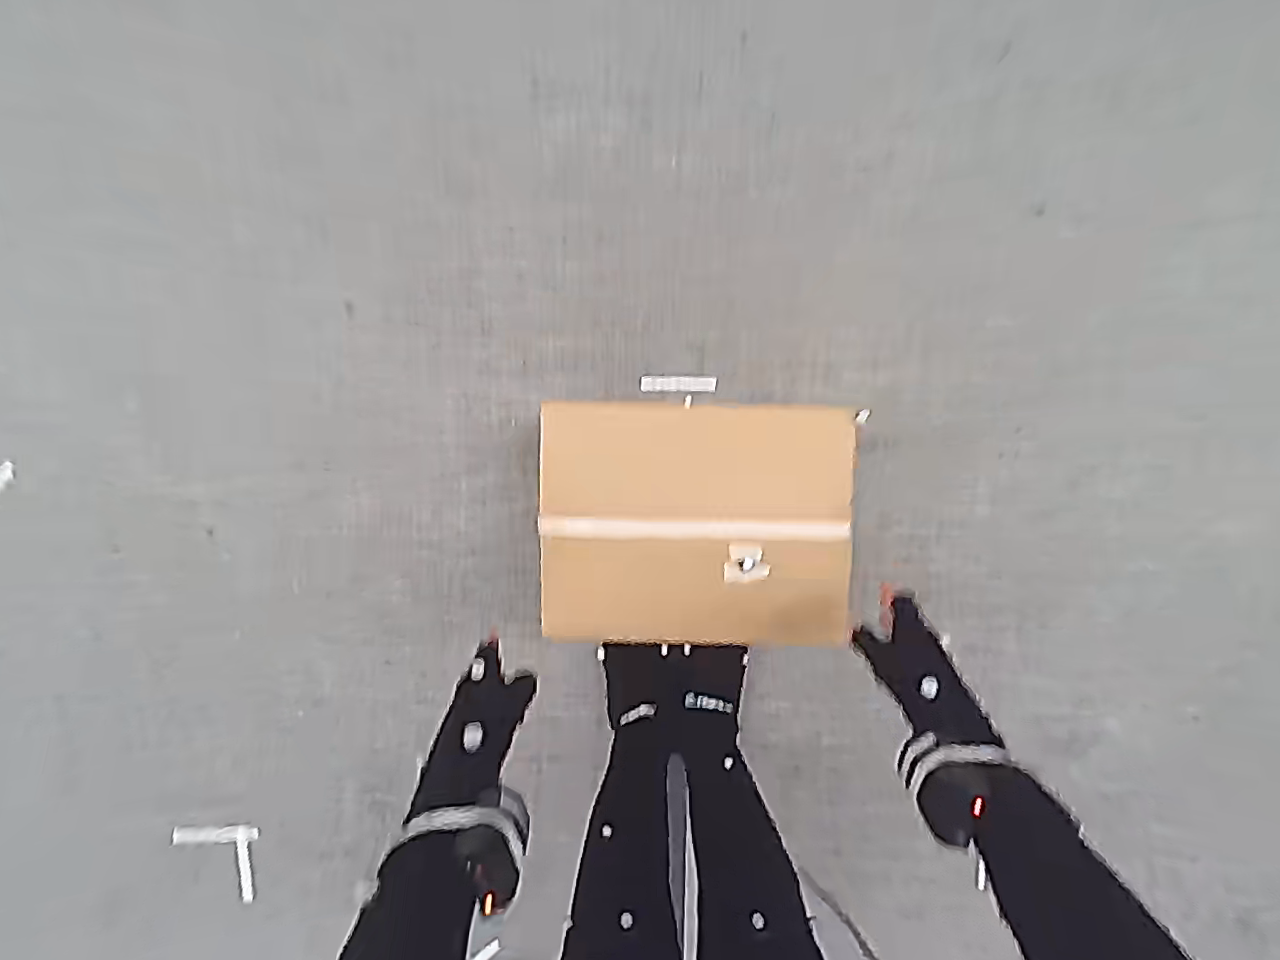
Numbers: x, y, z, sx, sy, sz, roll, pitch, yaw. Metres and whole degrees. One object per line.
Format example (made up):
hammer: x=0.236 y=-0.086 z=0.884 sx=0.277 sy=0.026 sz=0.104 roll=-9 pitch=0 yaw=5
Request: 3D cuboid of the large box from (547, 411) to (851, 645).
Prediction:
large box: x=0.076 y=0.057 z=0.862 sx=0.408 sy=0.320 sz=0.320 roll=0 pitch=95 yaw=0
